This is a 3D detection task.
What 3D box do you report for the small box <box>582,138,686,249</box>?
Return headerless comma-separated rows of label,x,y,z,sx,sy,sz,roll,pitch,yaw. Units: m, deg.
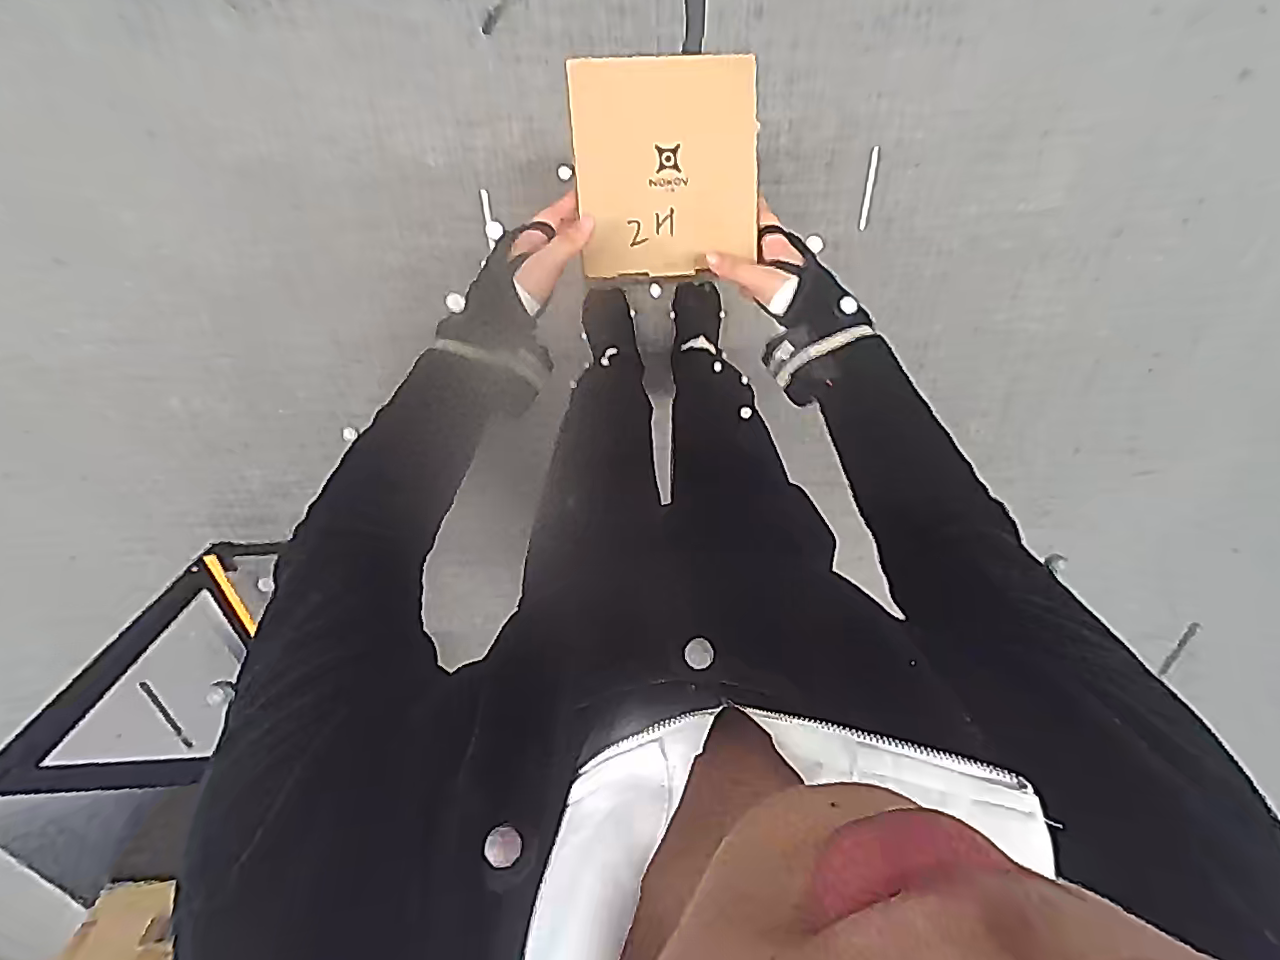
small box,-0.010,-0.553,1.042,0.179,0.176,0.168,-6,122,1
